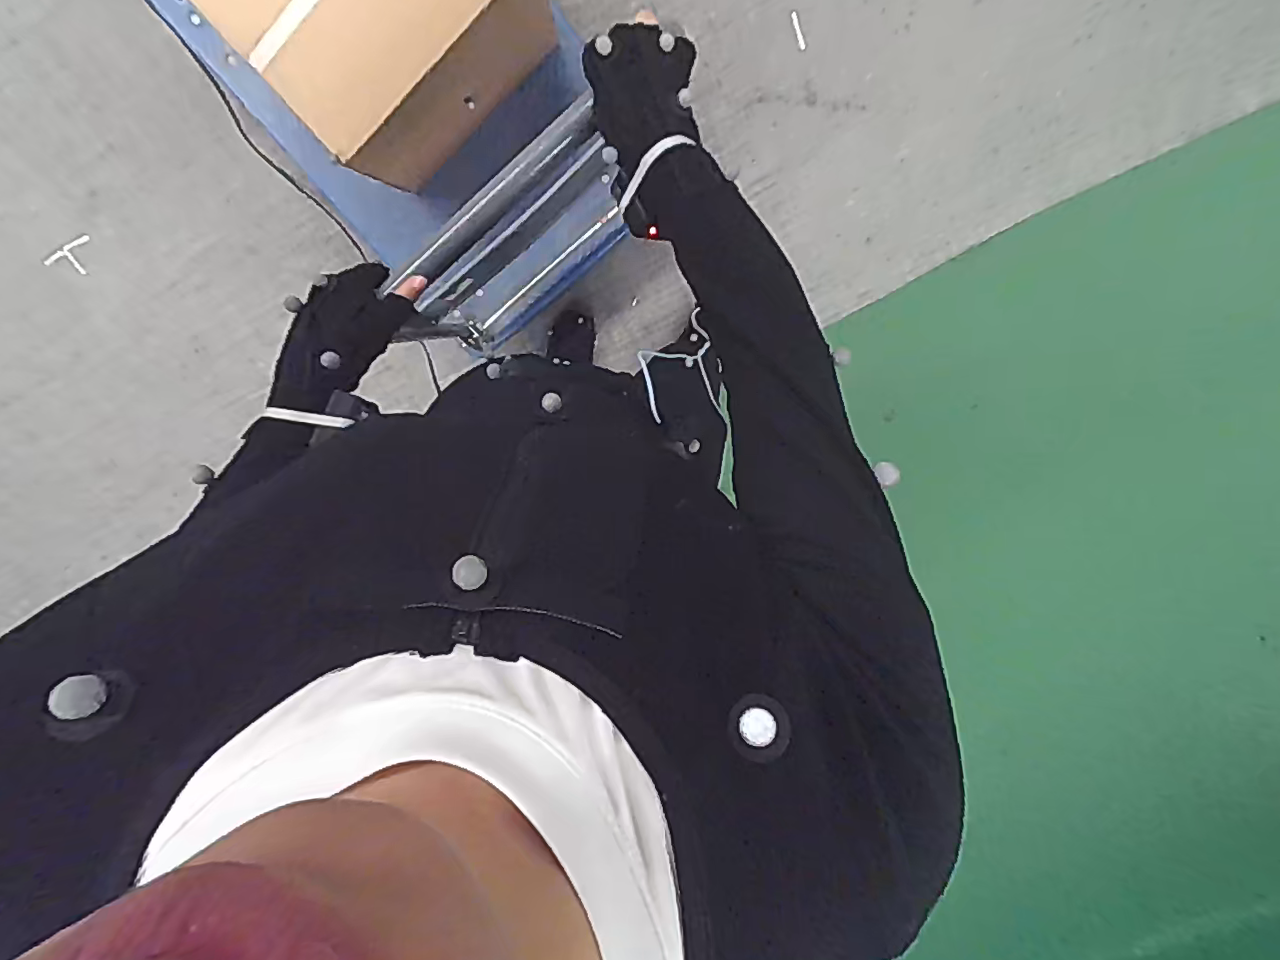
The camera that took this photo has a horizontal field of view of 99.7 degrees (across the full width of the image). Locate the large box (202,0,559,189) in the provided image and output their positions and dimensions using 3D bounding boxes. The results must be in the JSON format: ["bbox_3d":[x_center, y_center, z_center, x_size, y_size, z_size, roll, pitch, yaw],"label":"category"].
[{"bbox_3d":[-0.390,-0.766,0.885,0.408,0.320,0.320,-39,107,12],"label":"large box"}]
